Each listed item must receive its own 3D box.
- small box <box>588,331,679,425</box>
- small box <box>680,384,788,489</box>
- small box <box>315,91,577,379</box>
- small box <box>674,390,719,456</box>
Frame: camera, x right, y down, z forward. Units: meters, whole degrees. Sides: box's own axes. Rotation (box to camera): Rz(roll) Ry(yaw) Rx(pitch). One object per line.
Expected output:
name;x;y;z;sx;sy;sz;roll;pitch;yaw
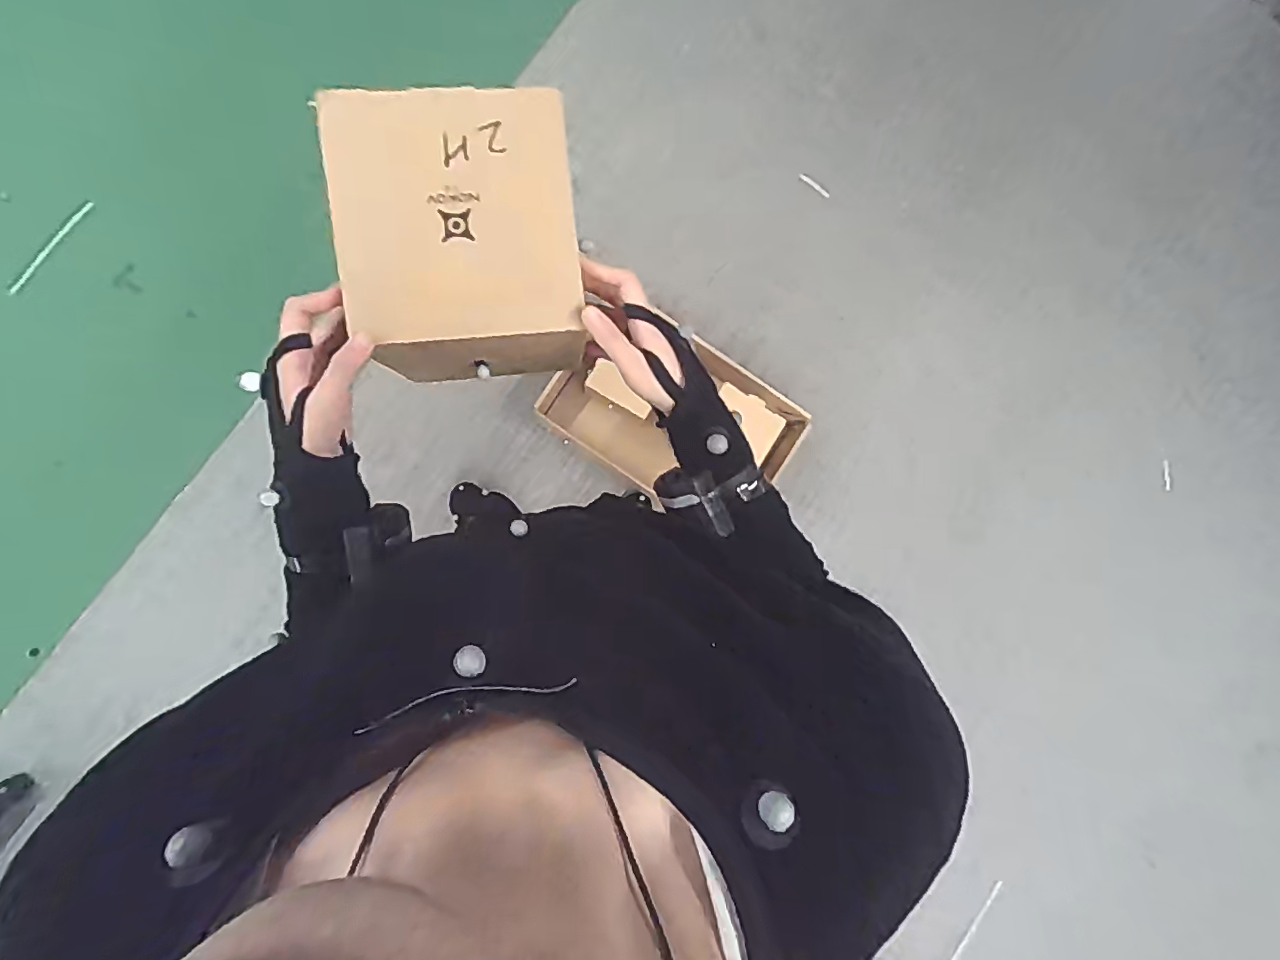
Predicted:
small box;-0.025;-0.256;1.414;0.179;0.176;0.168;31;87;-5
small box;0.210;-0.094;1.263;0.168;0.176;0.179;33;86;-2
small box;-0.144;-0.186;0.461;0.168;0.176;0.179;-7;92;-8
small box;0.205;-0.112;1.427;0.179;0.176;0.168;29;87;-2
